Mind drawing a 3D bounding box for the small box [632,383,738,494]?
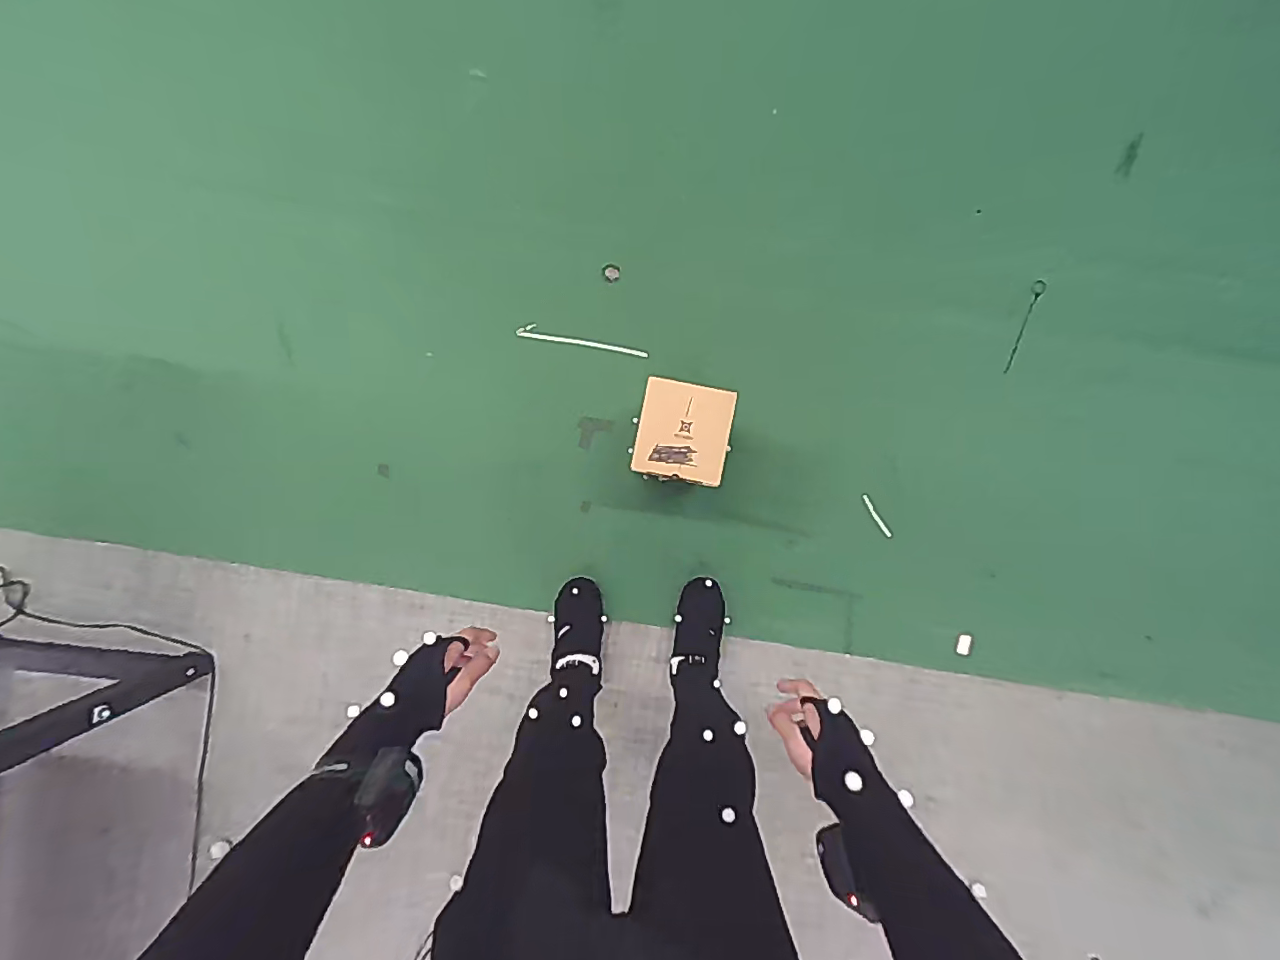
[{"bbox_3d":[0.082,-0.075,1.052,0.168,0.176,0.179,11,90,-1],"label":"small box"}]
